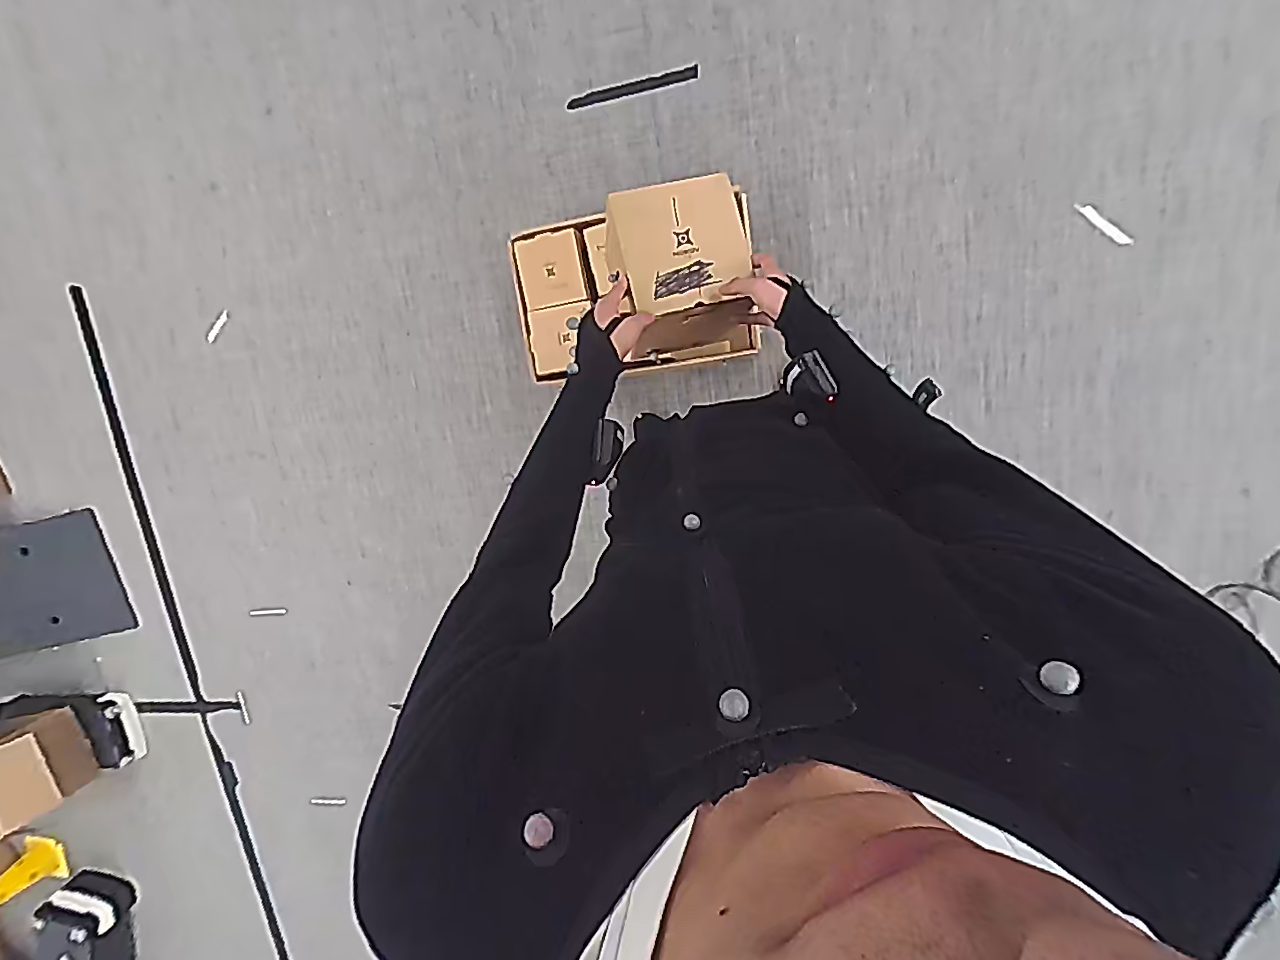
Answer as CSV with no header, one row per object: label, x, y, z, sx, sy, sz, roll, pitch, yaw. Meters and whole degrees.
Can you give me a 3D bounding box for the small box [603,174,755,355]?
small box,0.046,-0.290,0.769,0.168,0.176,0.179,-13,86,-6
